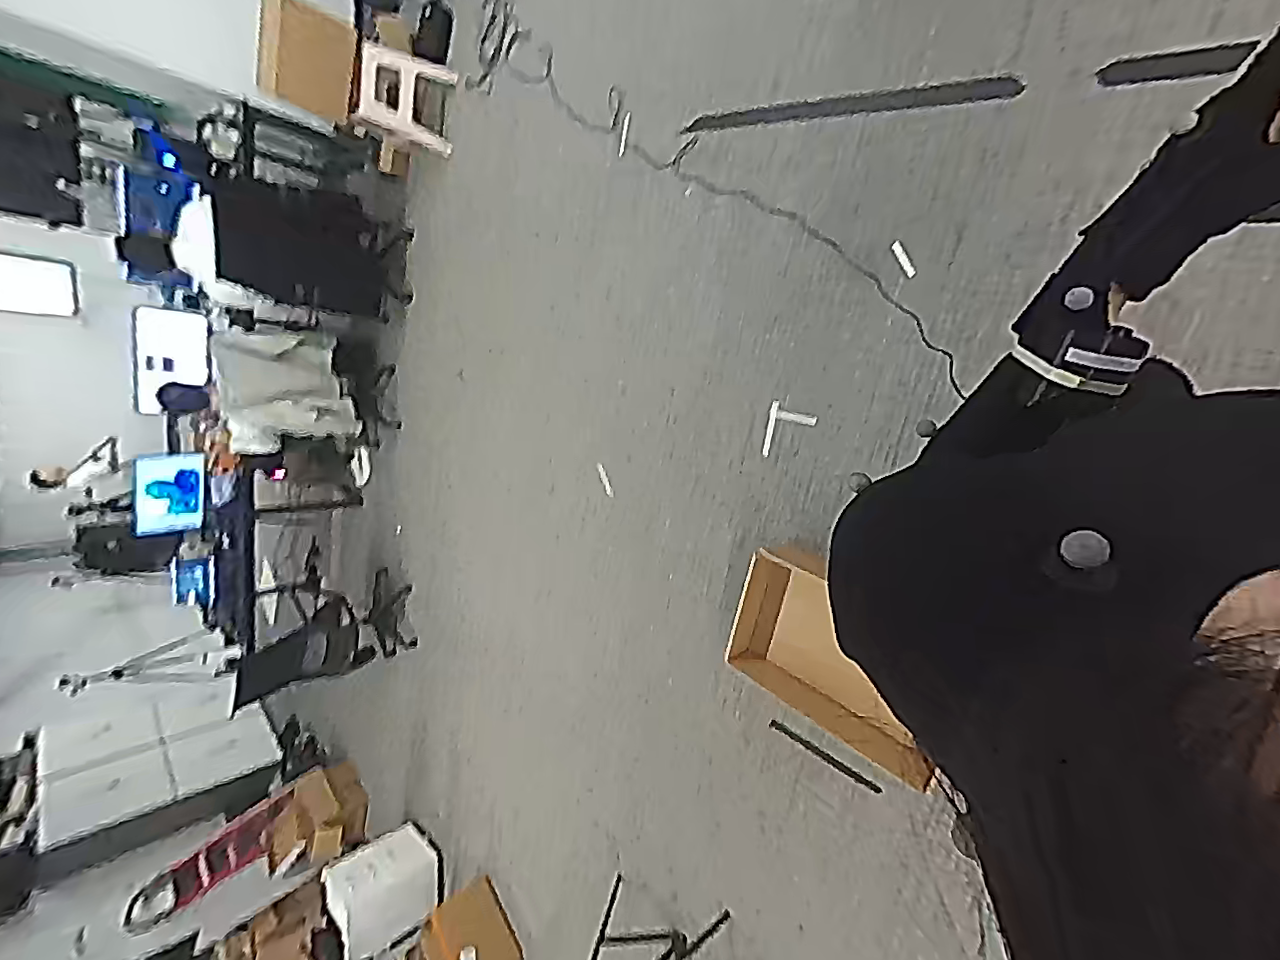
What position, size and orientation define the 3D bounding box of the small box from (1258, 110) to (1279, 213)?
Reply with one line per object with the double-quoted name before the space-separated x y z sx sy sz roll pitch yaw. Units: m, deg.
"small box" 0.457 -0.252 0.259 0.168 0.176 0.179 16 101 37
